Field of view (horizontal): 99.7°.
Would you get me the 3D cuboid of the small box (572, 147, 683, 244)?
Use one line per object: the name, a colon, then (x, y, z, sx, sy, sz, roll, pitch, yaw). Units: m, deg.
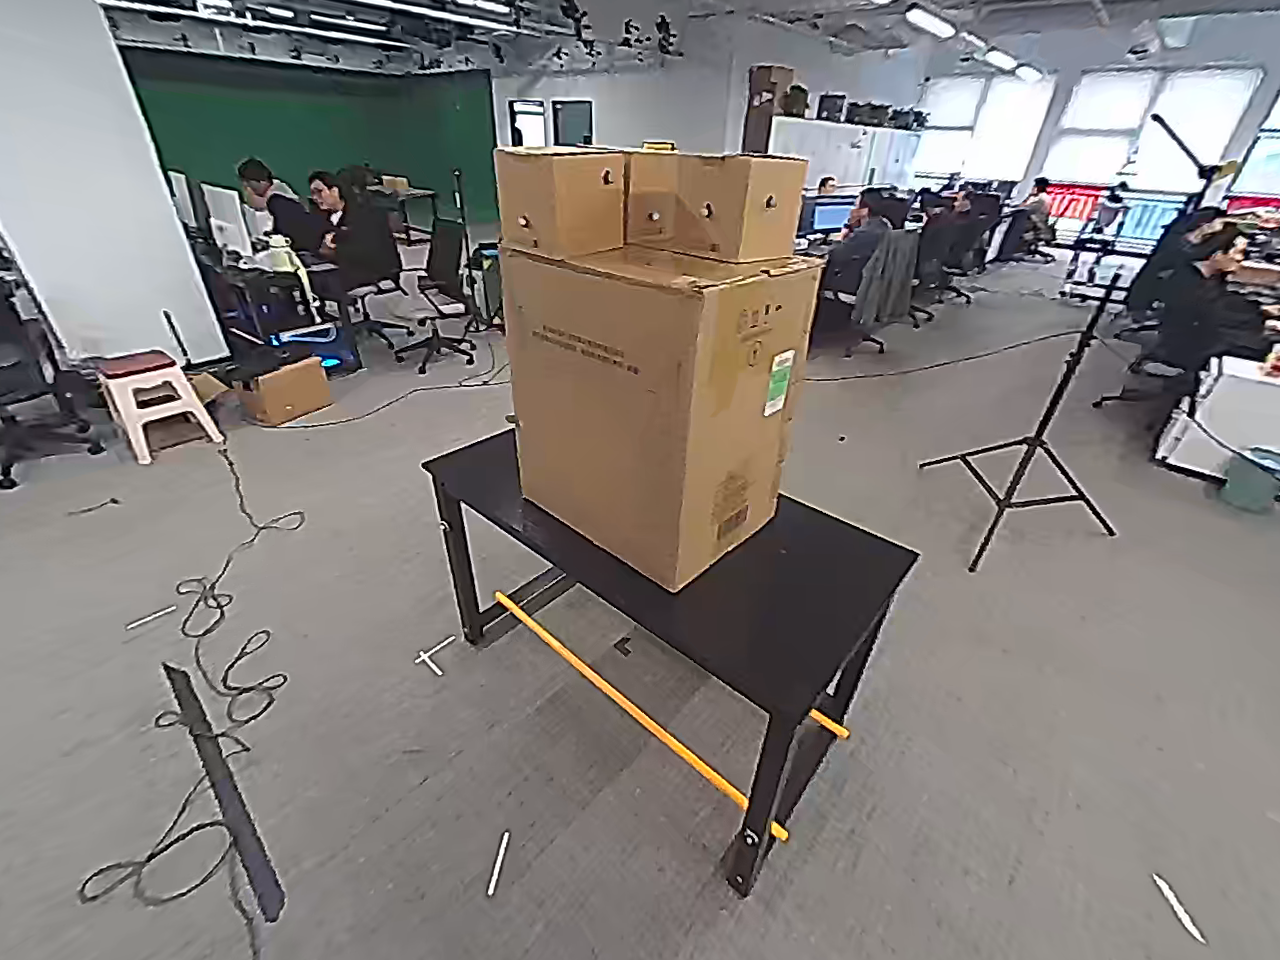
small box: (-0.032, -0.611, 1.163, 0.179, 0.176, 0.168, 28, 40, 33)
